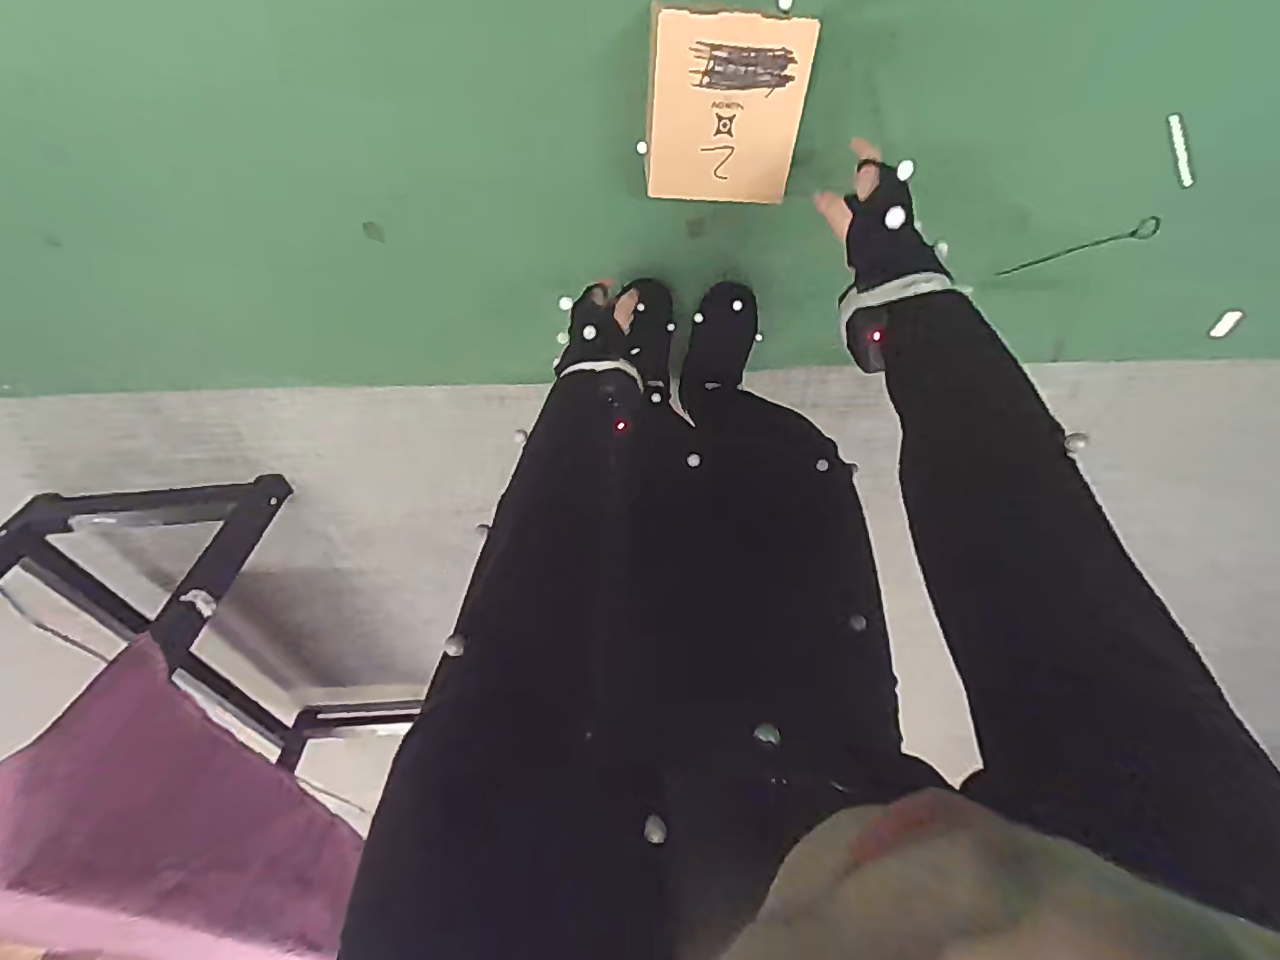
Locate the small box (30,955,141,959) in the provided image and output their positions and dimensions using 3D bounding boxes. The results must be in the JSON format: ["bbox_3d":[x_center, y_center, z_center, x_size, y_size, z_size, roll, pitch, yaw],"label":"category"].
[{"bbox_3d":[-1.151,1.059,1.071,0.168,0.176,0.179,-3,134,2],"label":"small box"}]
